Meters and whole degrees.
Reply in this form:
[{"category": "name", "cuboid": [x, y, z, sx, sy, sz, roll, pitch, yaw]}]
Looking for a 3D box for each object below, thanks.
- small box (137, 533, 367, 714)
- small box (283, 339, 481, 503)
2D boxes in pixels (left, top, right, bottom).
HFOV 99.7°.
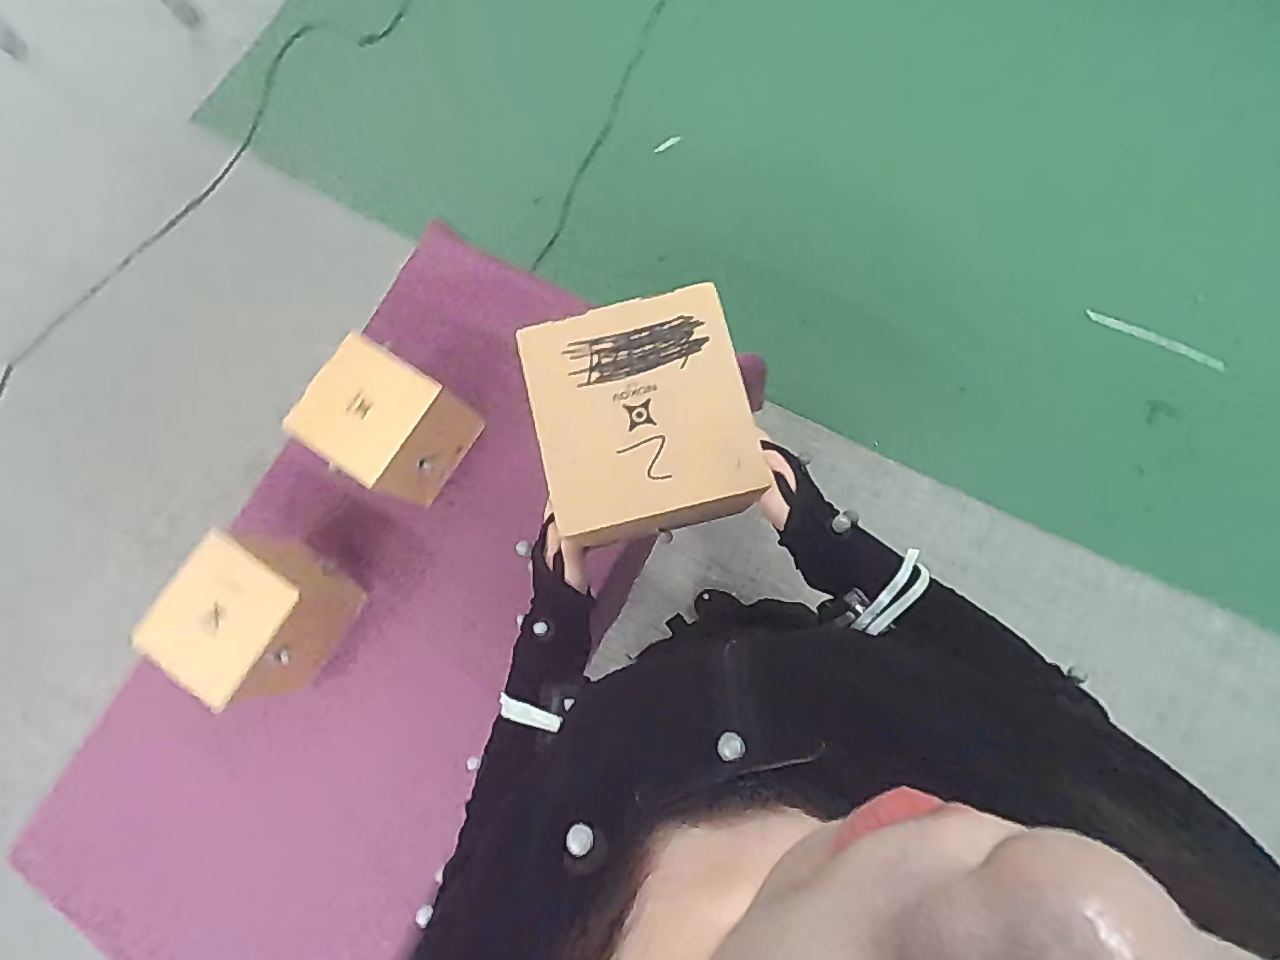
[{"category": "small box", "cuboid": [-0.543, 0.202, 0.783, 0.168, 0.176, 0.179, 31, 82, 12]}, {"category": "small box", "cuboid": [-0.378, -0.079, 0.828, 0.179, 0.176, 0.168, 31, 83, 13]}]
